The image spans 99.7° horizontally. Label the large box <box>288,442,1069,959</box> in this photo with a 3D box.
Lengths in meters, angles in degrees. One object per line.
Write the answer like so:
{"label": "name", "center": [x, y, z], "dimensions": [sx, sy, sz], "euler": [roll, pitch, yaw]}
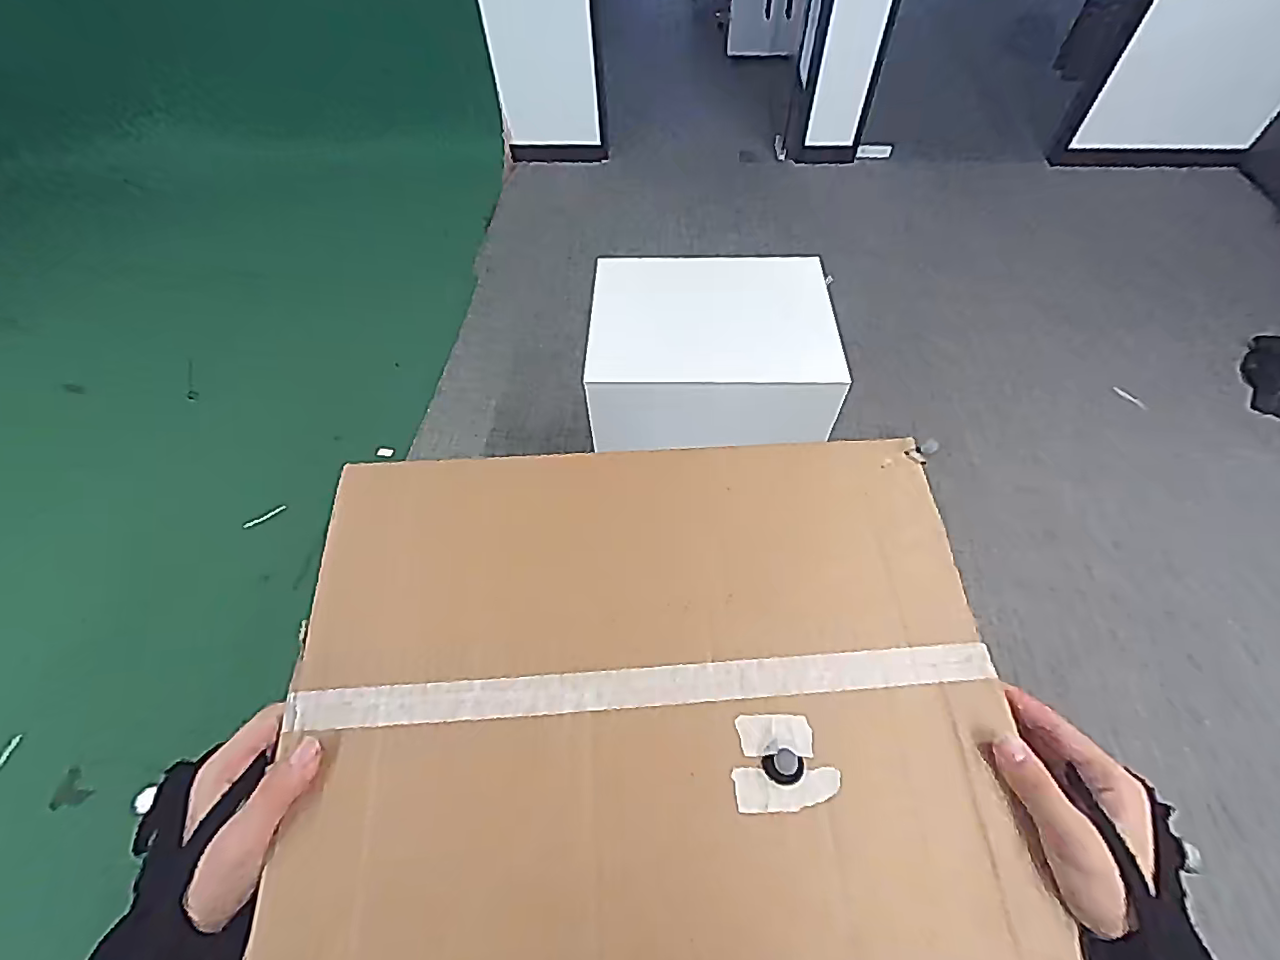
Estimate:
{"label": "large box", "center": [0.008, 0.185, 0.464], "dimensions": [0.408, 0.320, 0.320], "euler": [-2, 64, -4]}
